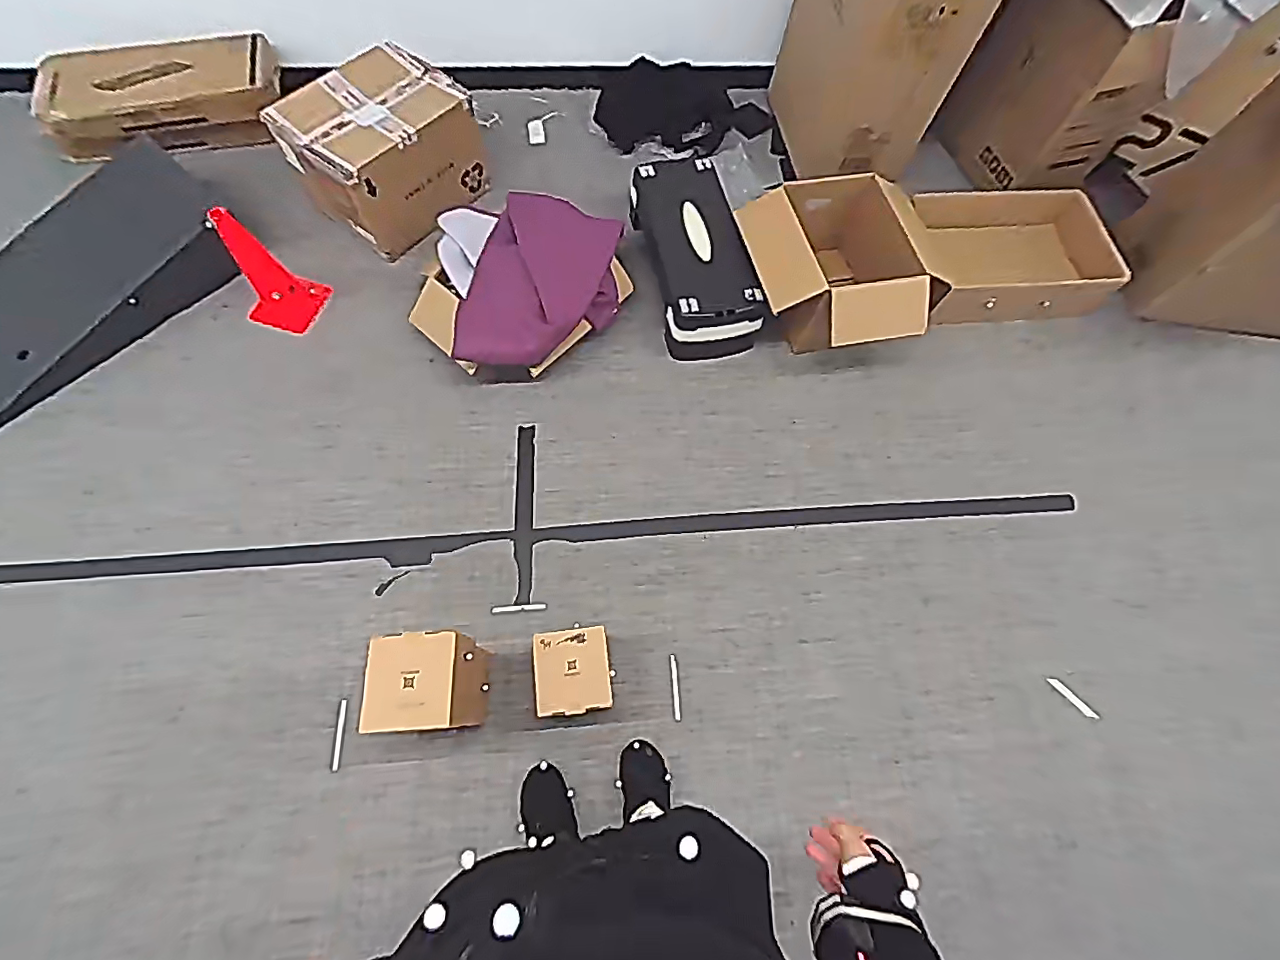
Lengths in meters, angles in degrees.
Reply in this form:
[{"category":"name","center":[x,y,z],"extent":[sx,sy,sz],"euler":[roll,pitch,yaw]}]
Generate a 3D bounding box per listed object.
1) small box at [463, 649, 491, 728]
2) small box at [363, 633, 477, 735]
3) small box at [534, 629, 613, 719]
[{"category":"small box","center":[-0.450,0.484,1.251],"extent":[0.179,0.176,0.168],"euler":[-2,67,-3]},{"category":"small box","center":[-0.436,0.416,1.103],"extent":[0.168,0.176,0.179],"euler":[-3,68,-3]},{"category":"small box","center":[-0.155,0.458,1.279],"extent":[0.168,0.176,0.179],"euler":[-6,68,-5]}]
